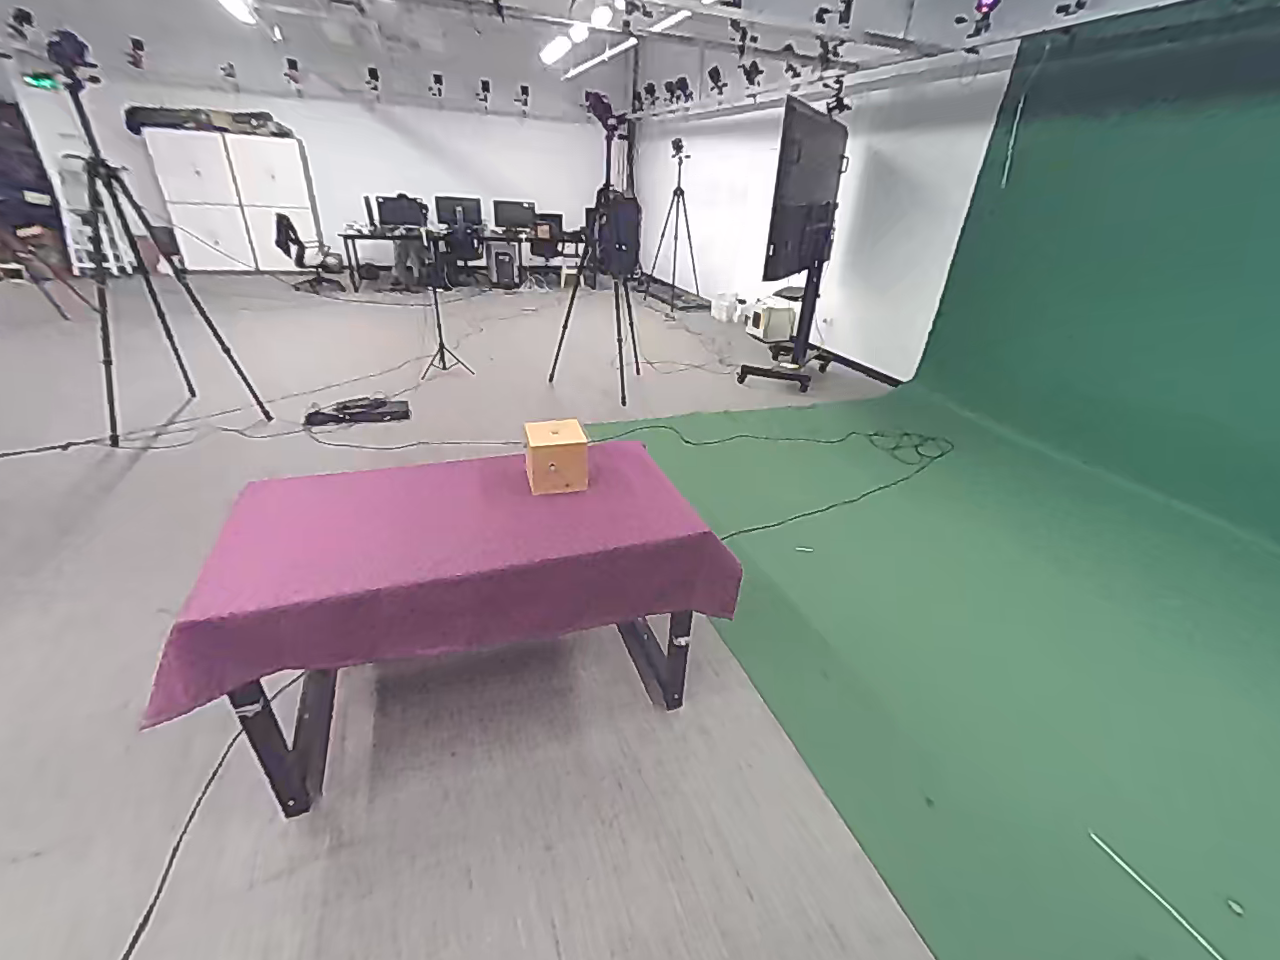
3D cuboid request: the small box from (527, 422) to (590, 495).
[{"bbox_3d":[-0.249,-0.062,1.651,0.168,0.176,0.179,-7,29,-15],"label":"small box"}]
